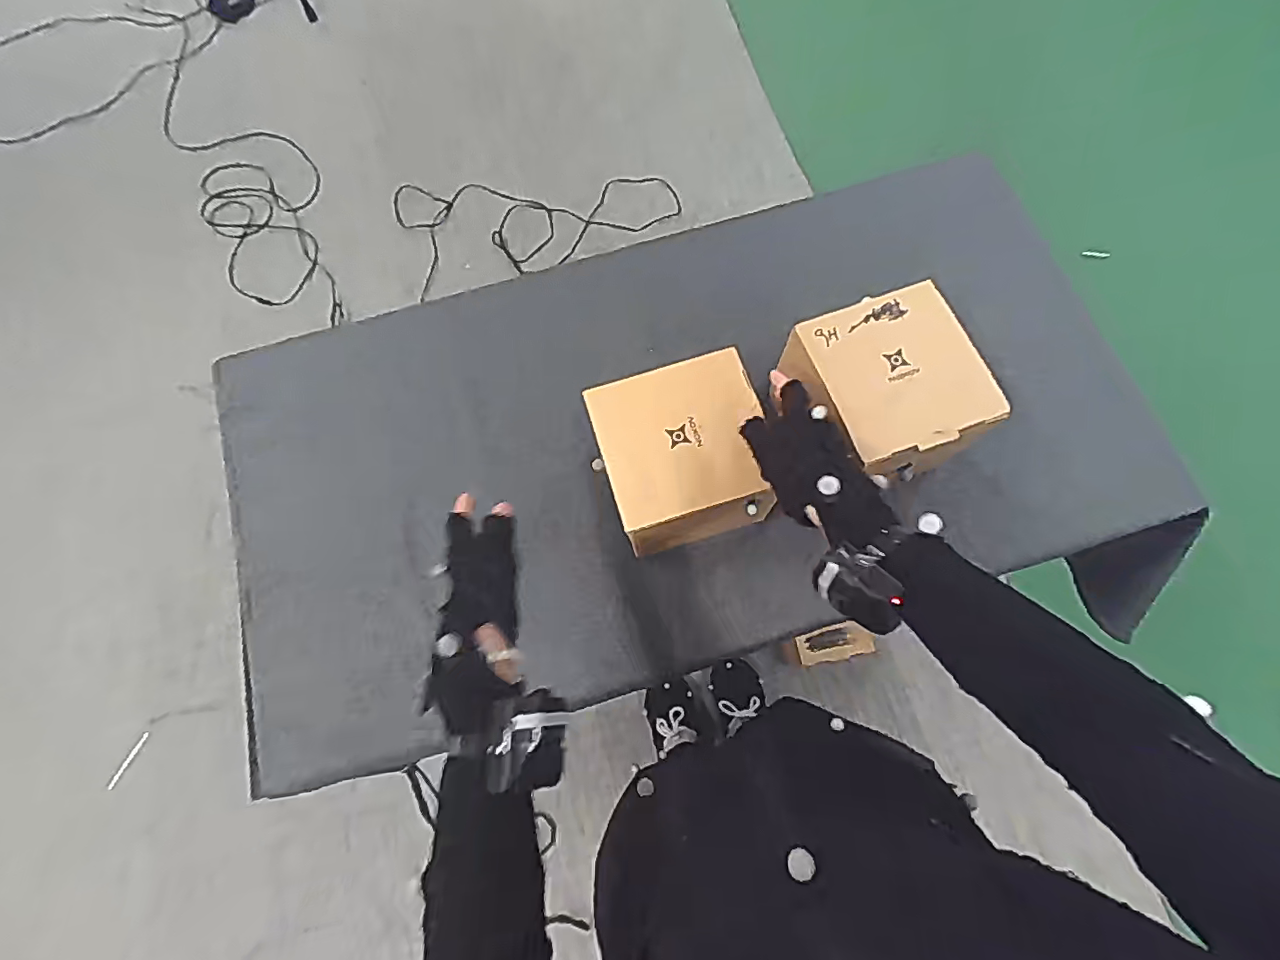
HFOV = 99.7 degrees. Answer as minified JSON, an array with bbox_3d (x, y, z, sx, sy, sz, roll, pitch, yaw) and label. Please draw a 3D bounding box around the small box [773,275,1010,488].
[{"bbox_3d":[0.277,-0.101,0.642,0.168,0.176,0.179,-18,74,-4],"label":"small box"}]
